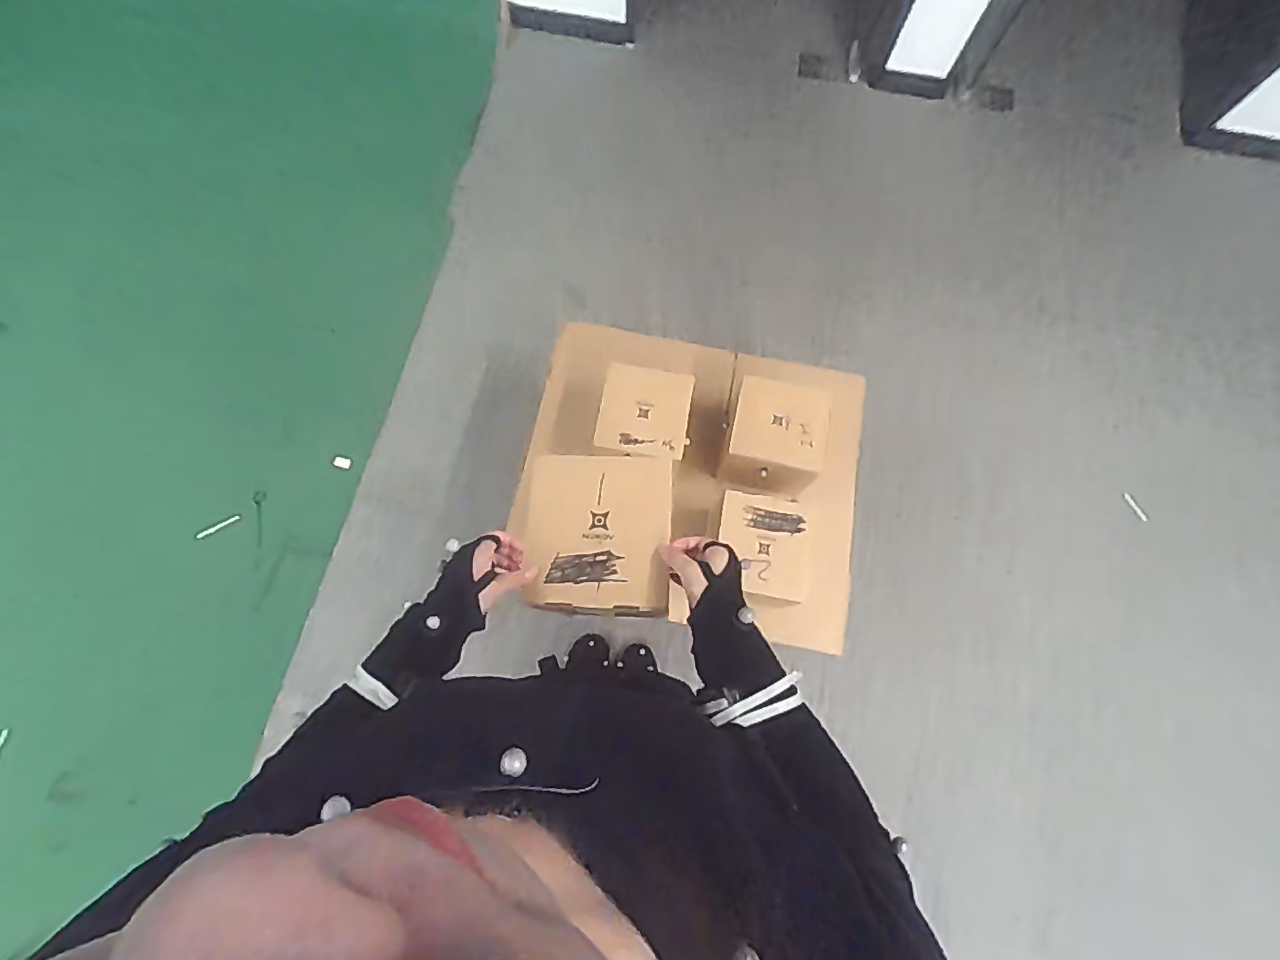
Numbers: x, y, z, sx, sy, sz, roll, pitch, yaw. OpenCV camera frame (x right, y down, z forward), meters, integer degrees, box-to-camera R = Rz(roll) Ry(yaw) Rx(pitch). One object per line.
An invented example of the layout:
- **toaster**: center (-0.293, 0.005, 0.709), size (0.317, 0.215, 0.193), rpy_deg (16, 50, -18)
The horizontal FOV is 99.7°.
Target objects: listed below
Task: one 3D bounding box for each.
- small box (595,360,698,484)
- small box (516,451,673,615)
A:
- **small box**: center (0.013, -0.108, 1.070), size (0.168, 0.176, 0.179), rpy_deg (10, 73, 3)
- **small box**: center (-0.045, 0.075, 0.684), size (0.168, 0.176, 0.179), rpy_deg (2, 72, 4)
